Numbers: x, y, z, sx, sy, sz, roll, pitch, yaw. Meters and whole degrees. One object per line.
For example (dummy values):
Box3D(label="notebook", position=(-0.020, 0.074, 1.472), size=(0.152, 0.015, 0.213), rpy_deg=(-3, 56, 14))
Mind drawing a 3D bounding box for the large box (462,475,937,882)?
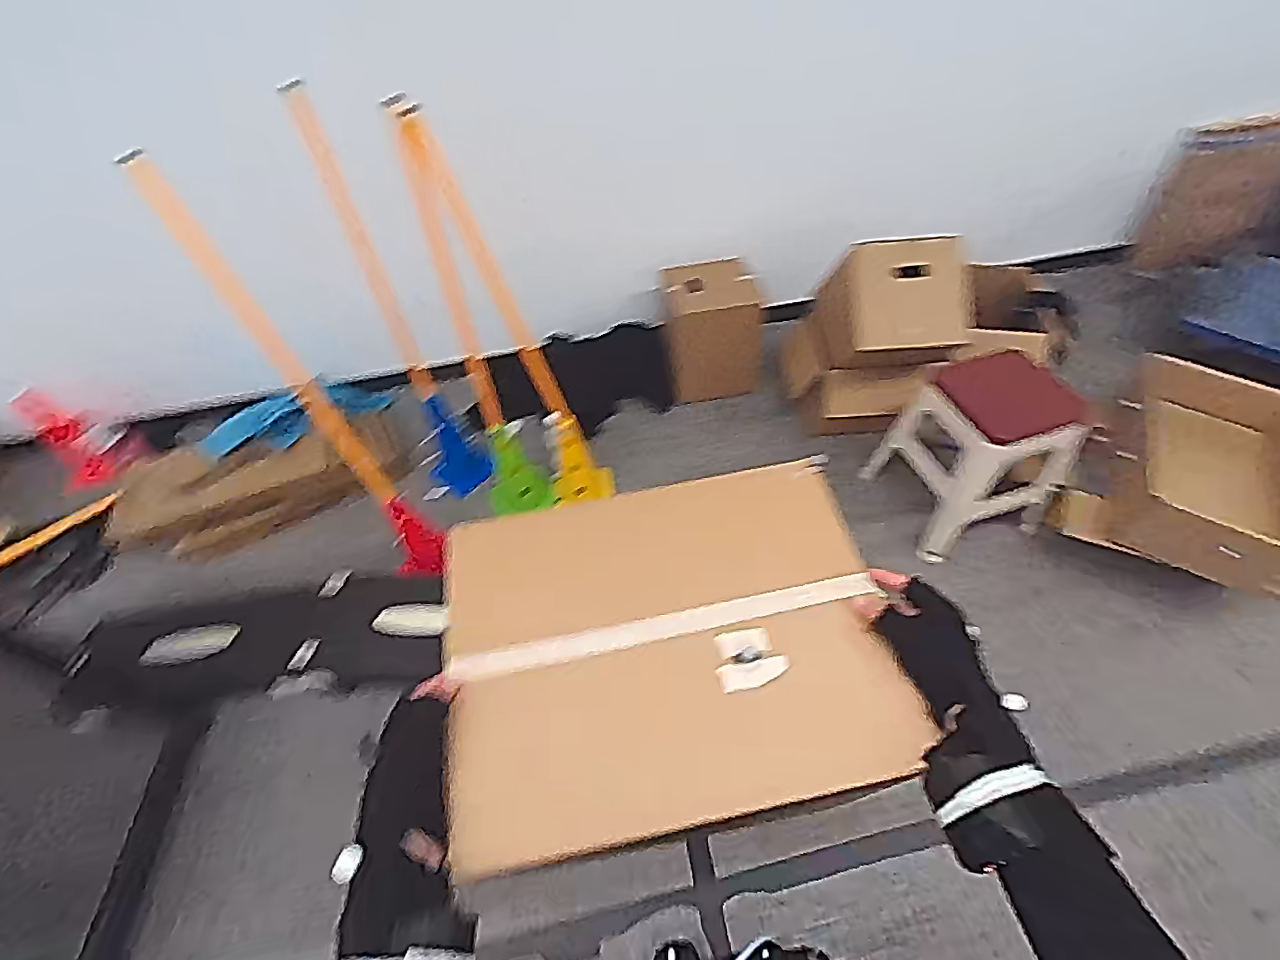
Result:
Box3D(label="large box", position=(0.035, 0.241, 0.641), size=(0.408, 0.320, 0.320), rpy_deg=(-11, 55, -4))
